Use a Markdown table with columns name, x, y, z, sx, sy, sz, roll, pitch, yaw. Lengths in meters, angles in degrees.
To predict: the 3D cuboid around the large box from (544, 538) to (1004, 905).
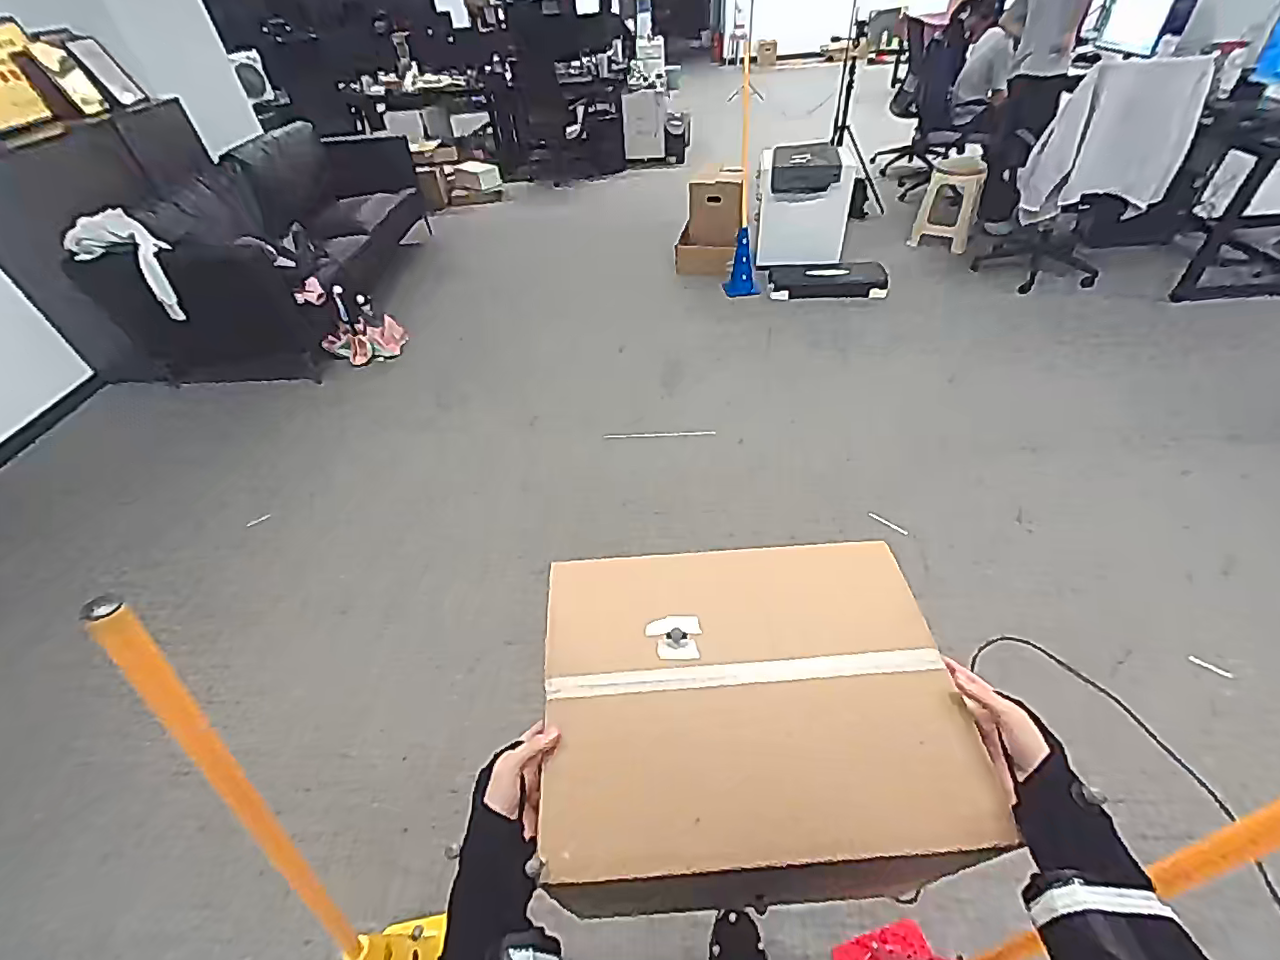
| name | x | y | z | sx | sy | sz | roll | pitch | yaw |
| --- | --- | --- | --- | --- | --- | --- | --- | --- | --- |
| large box | 0.112 | 0.299 | 0.665 | 0.408 | 0.320 | 0.320 | -4 | 46 | -1 |
